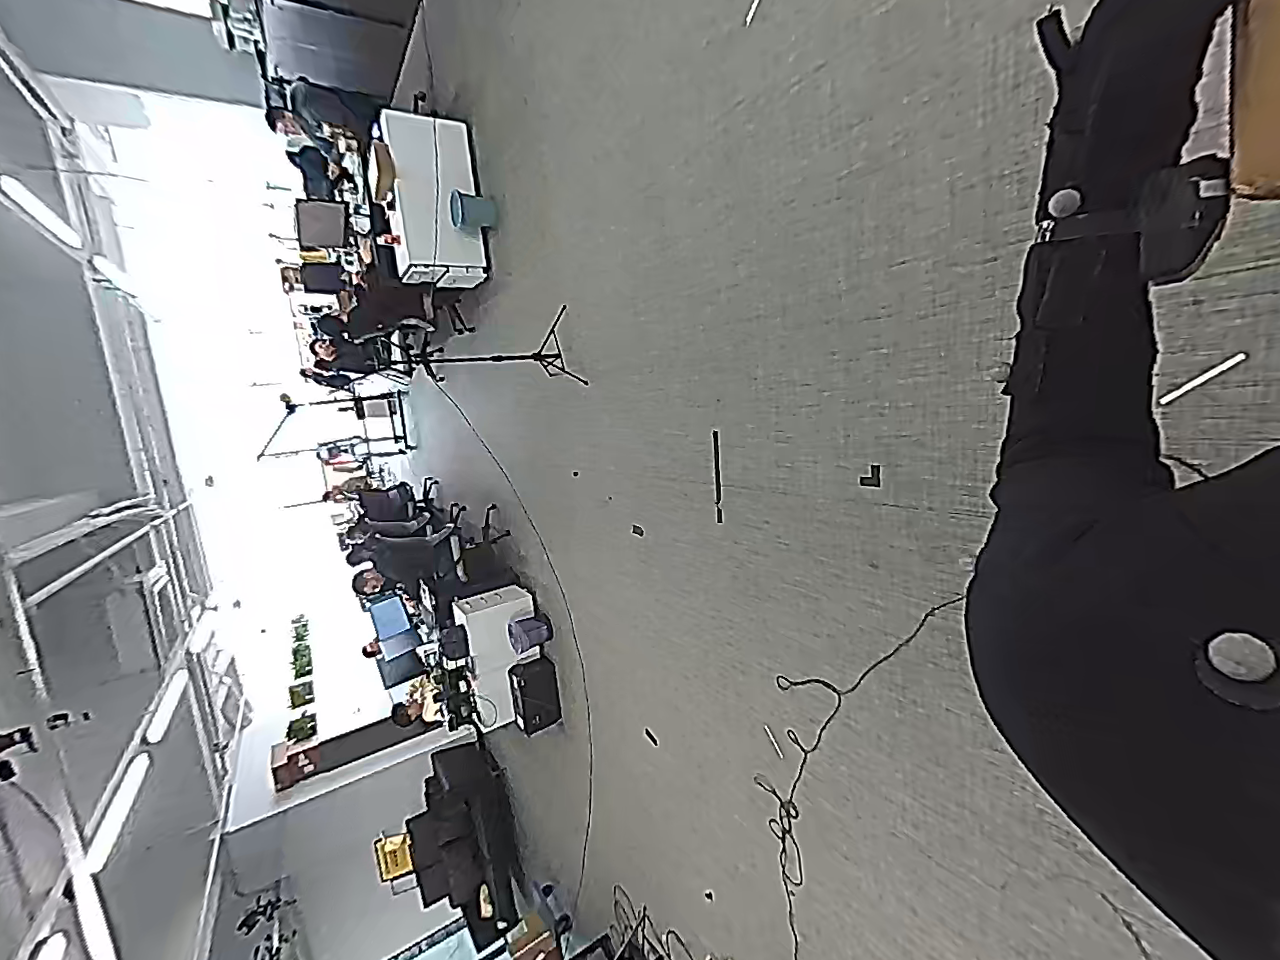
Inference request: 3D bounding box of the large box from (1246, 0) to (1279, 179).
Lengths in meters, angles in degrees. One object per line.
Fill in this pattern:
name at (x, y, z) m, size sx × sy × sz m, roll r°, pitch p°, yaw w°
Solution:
large box at (0.526, -0.341, 0.183) m, size 0.408 × 0.320 × 0.320 m, roll 4°, pitch 110°, yaw 55°
